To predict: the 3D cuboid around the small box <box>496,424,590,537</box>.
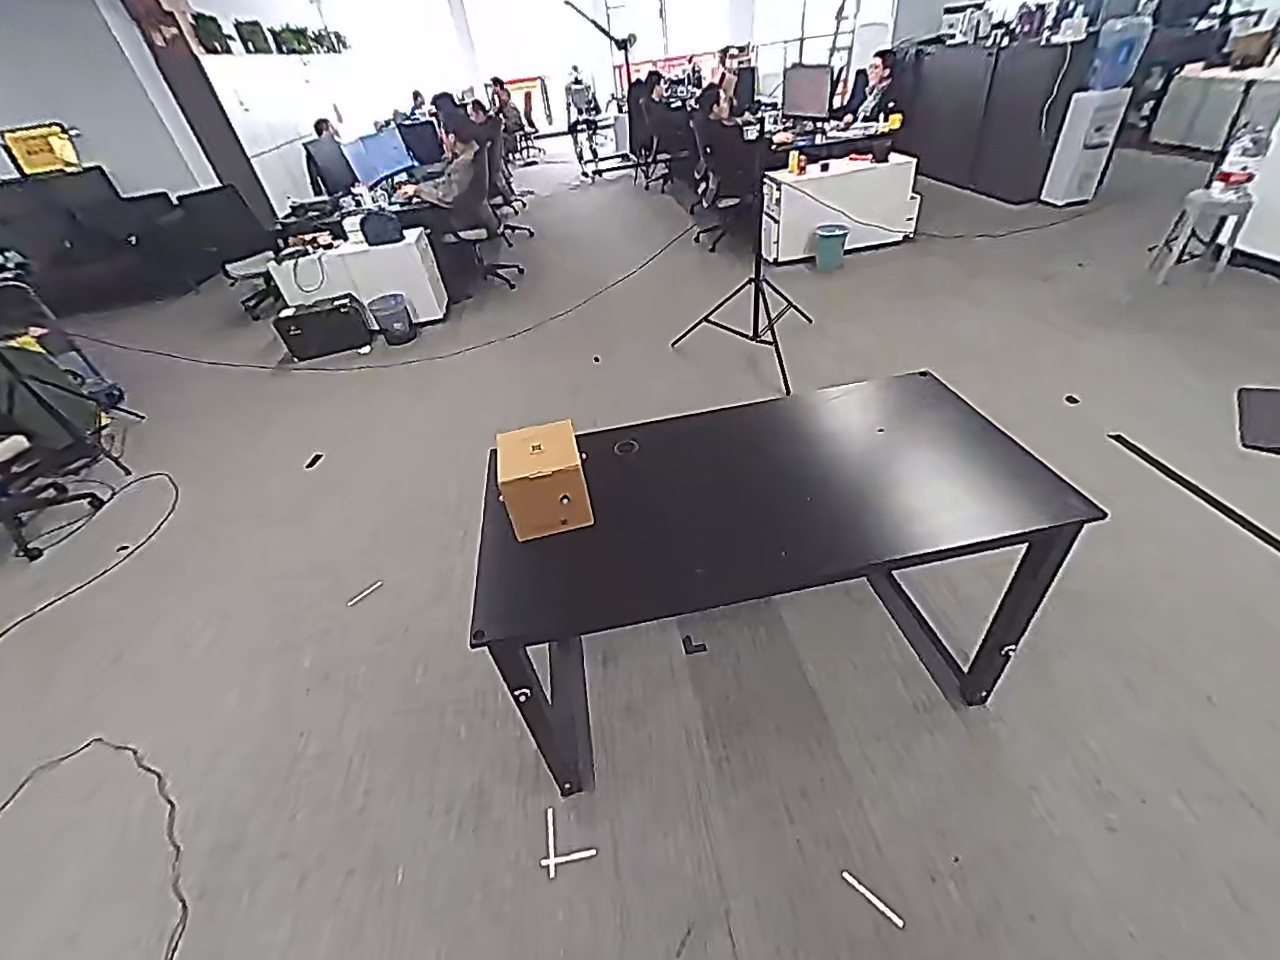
[{"bbox_3d":[-0.210,0.006,1.174,0.168,0.176,0.179,-12,38,-7],"label":"small box"}]
